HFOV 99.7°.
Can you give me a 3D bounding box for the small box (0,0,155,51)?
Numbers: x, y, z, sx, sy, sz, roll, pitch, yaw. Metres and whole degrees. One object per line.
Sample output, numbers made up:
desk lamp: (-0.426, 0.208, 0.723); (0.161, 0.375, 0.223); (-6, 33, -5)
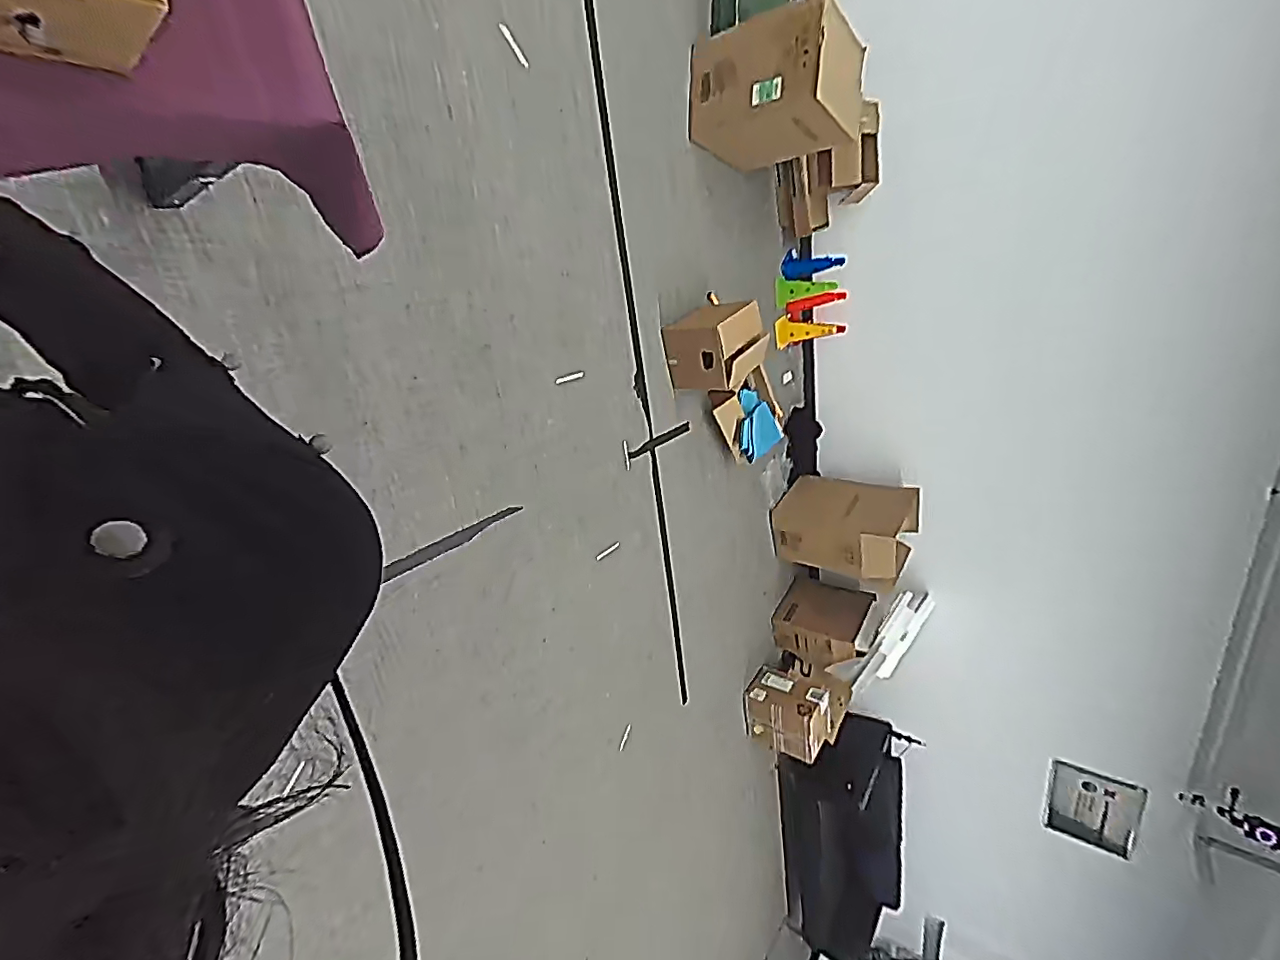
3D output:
small box: (-0.529, -0.484, 0.427); (0.168, 0.176, 0.179); (-26, 118, -48)
